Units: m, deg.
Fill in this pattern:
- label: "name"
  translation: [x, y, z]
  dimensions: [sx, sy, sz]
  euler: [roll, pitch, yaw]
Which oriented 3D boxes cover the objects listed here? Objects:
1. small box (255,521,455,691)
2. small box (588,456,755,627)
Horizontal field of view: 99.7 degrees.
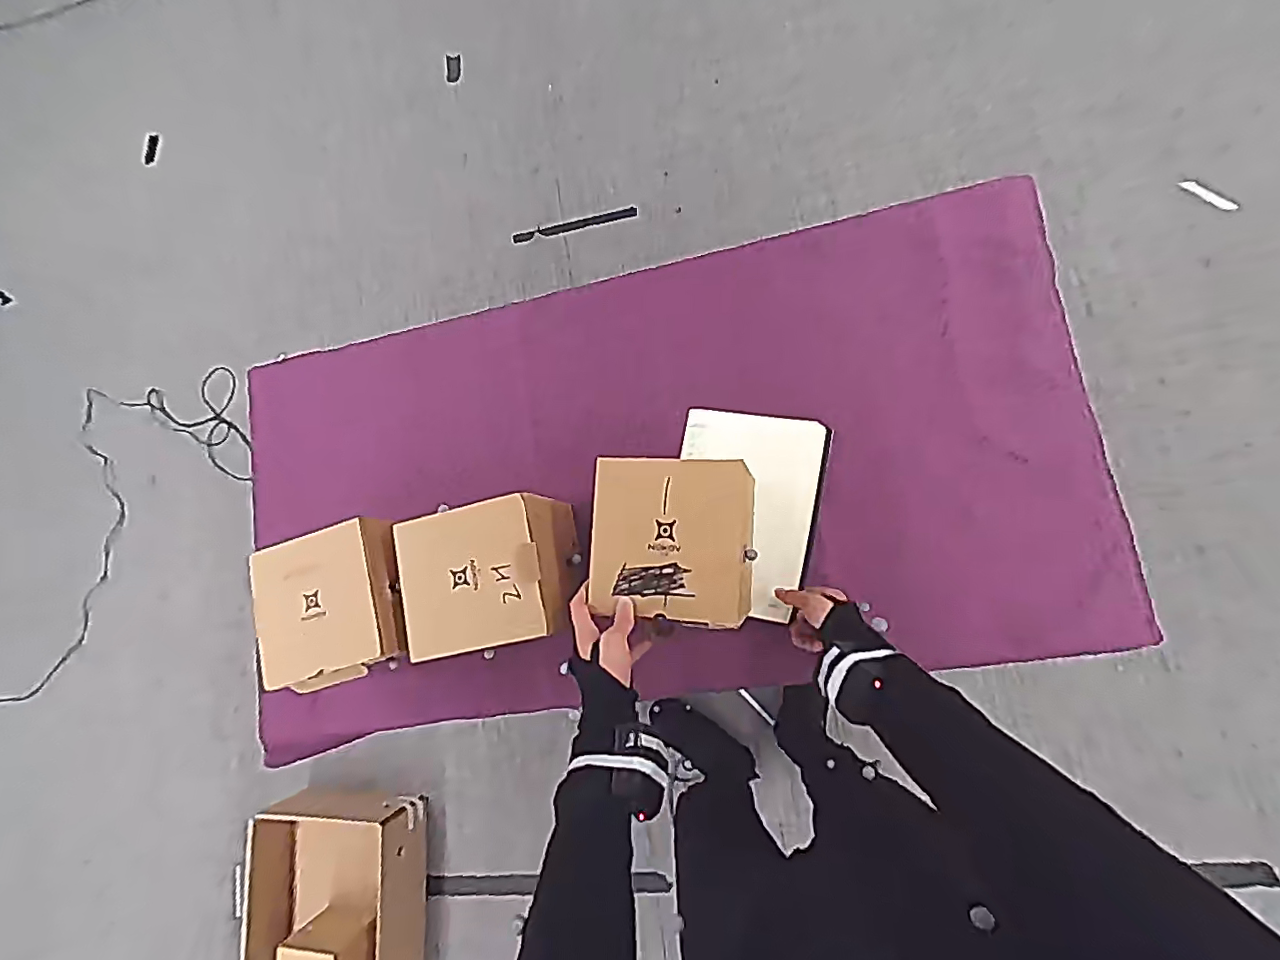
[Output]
- label: "small box"
  translation: [-0.378, 0.164, 0.741]
  dimensions: [0.168, 0.176, 0.179]
  euler: [-18, 78, 9]
- label: "small box"
  translation: [0.048, 0.070, 0.652]
  dimensions: [0.168, 0.176, 0.179]
  euler: [1, 83, 16]
